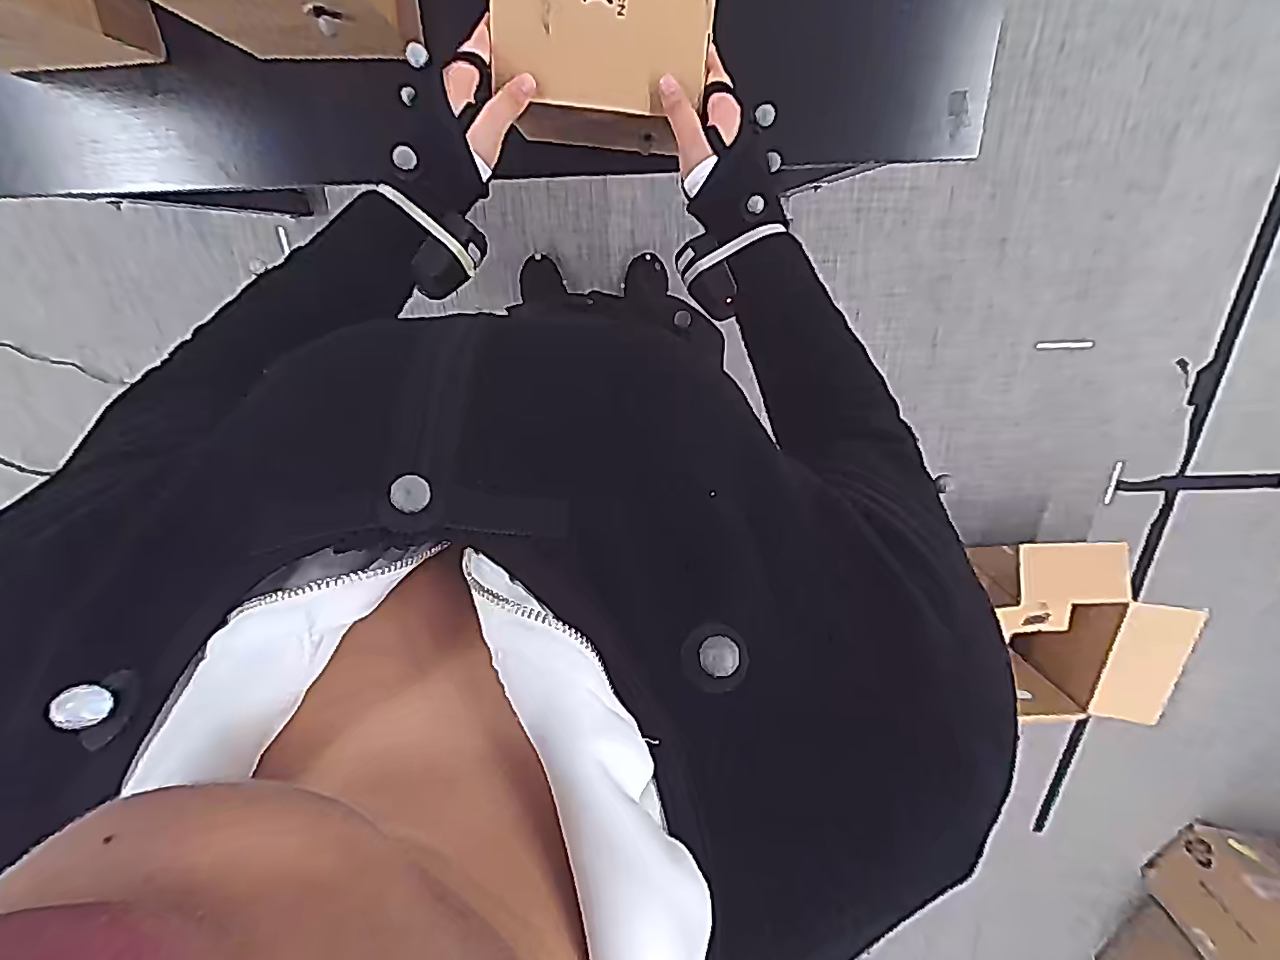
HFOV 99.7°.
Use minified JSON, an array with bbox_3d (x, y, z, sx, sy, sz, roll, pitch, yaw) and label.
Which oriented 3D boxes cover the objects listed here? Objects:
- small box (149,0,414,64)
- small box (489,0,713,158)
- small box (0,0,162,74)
[{"bbox_3d":[-0.313,-0.488,0.469,0.179,0.176,0.168,-1,112,-1],"label":"small box"},{"bbox_3d":[-0.031,-0.405,0.491,0.179,0.176,0.168,4,111,-2],"label":"small box"},{"bbox_3d":[-0.586,-0.475,0.465,0.179,0.176,0.168,-4,113,0],"label":"small box"}]
